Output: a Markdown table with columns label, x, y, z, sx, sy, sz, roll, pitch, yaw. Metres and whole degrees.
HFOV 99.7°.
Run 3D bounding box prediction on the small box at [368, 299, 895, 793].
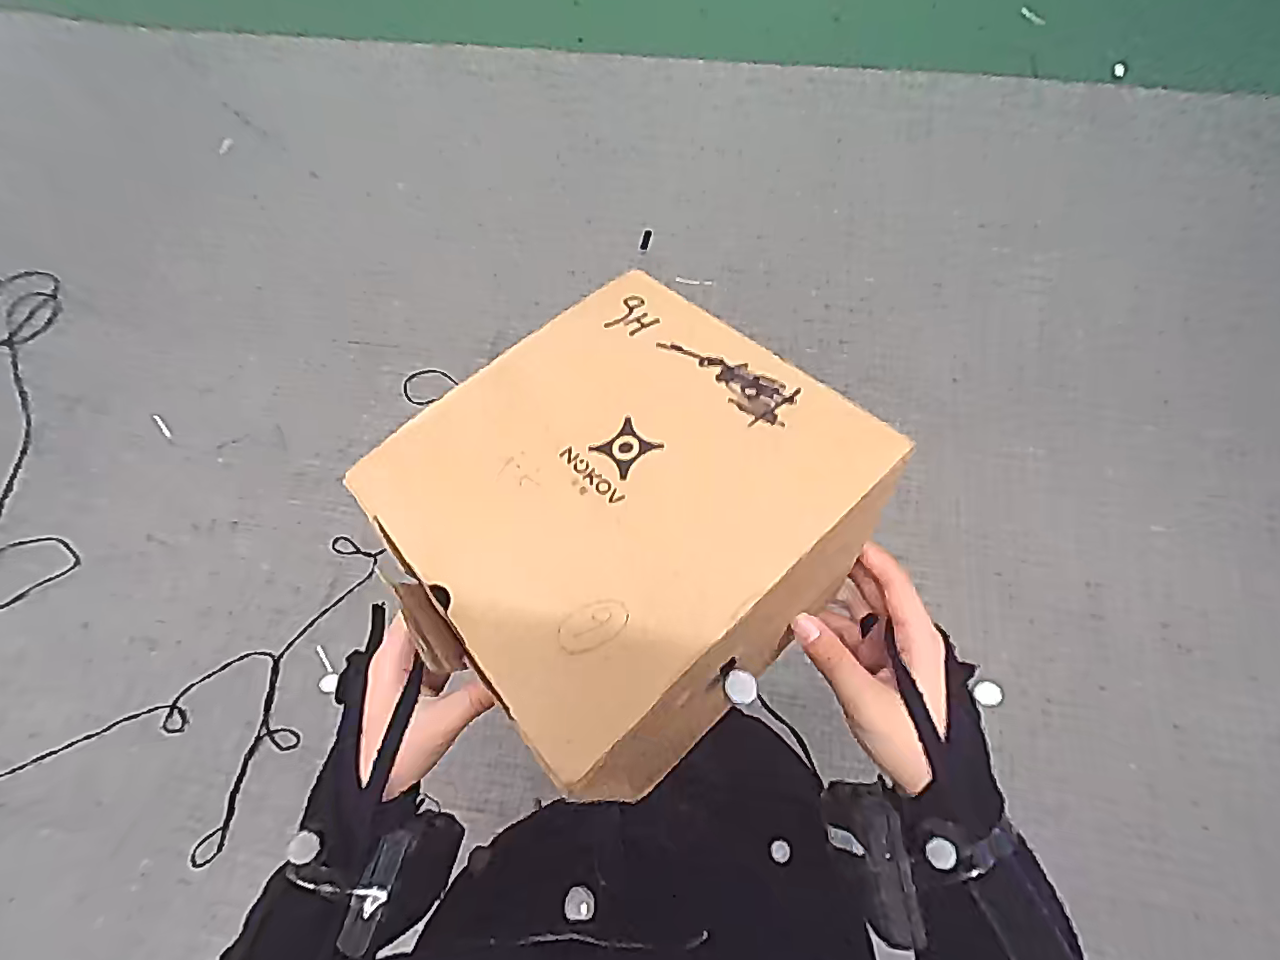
| label | x | y | z | sx | sy | sz | roll | pitch | yaw |
| --- | --- | --- | --- | --- | --- | --- | --- | --- | --- |
| small box | 0.001 | 0.044 | 0.299 | 0.179 | 0.176 | 0.168 | -41 | 61 | -16 |
